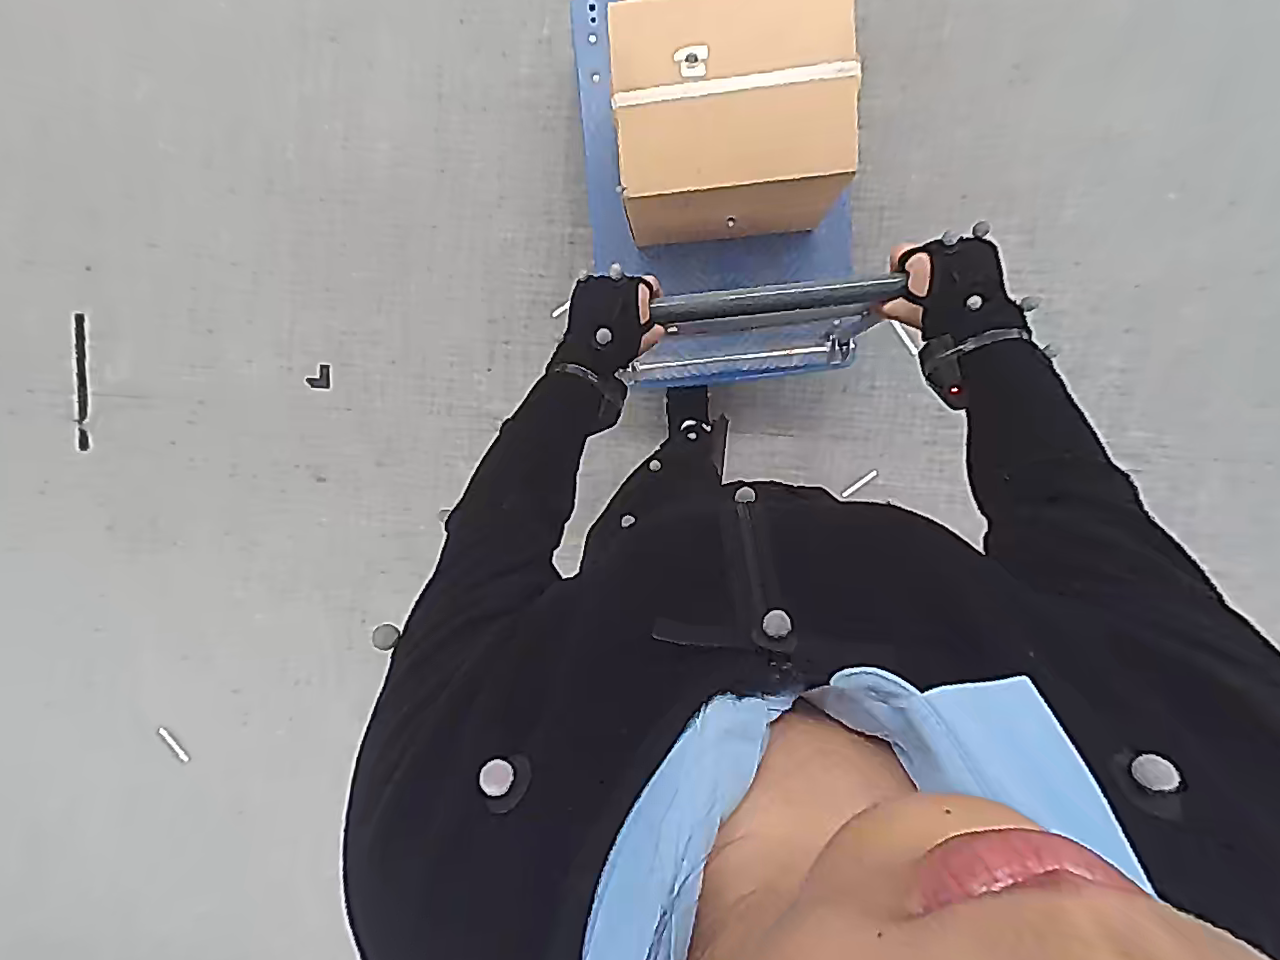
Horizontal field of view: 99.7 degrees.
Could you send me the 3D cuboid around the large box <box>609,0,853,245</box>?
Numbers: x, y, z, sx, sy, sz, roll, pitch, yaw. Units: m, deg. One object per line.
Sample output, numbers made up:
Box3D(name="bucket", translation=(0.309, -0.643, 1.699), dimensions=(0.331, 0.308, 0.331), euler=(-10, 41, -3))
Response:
Box3D(name="large box", translation=(0.171, -0.690, 1.078), dimensions=(0.408, 0.320, 0.320), euler=(-4, 97, 6))
